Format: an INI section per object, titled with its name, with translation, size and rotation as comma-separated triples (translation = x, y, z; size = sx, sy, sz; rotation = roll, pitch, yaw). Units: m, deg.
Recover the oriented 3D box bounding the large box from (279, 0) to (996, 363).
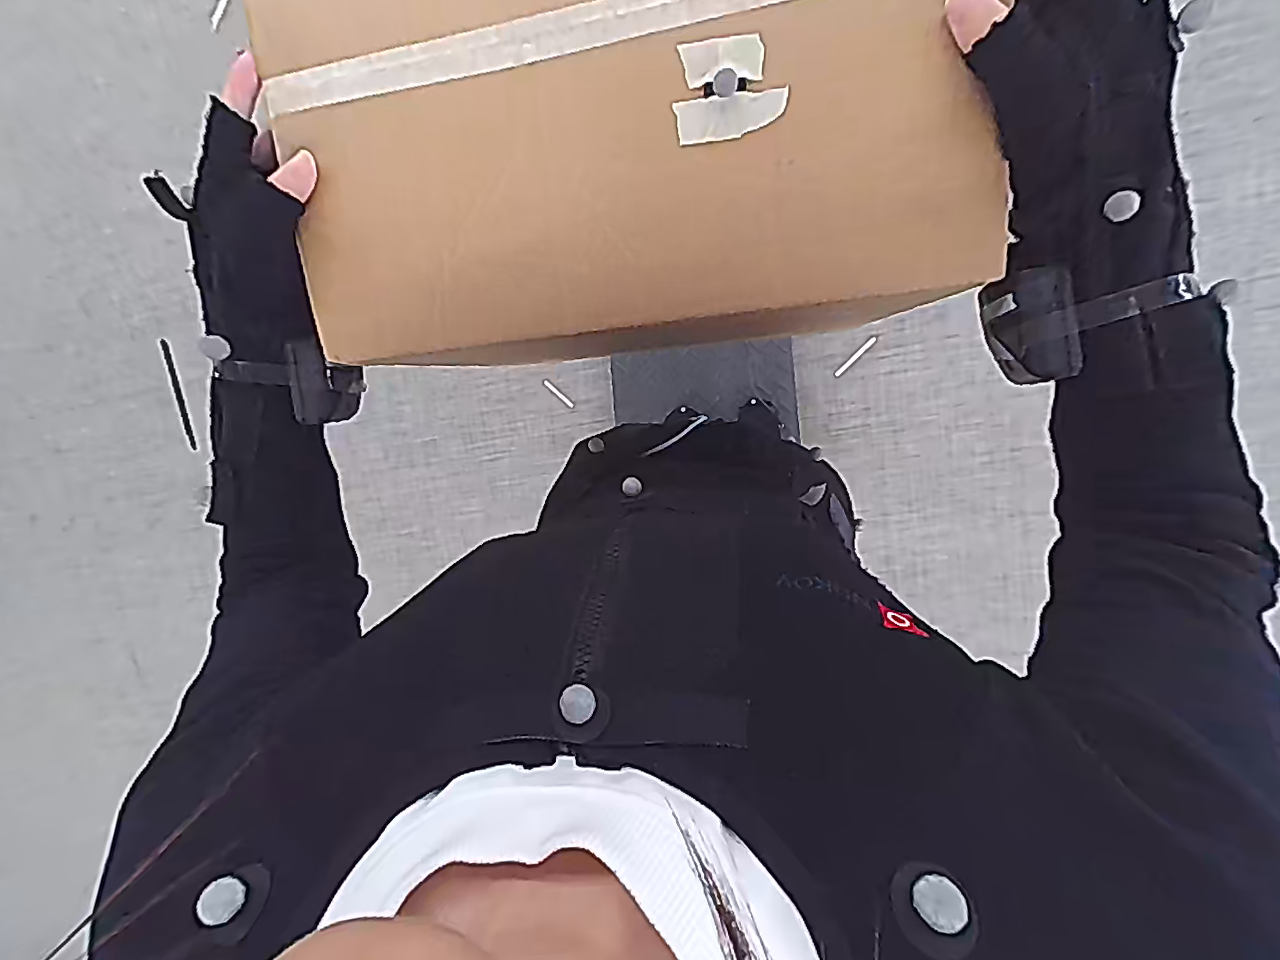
[large box]
translation = 0.003, -0.280, 0.448
size = 0.408, 0.320, 0.320
rotation = -5, 101, 9
